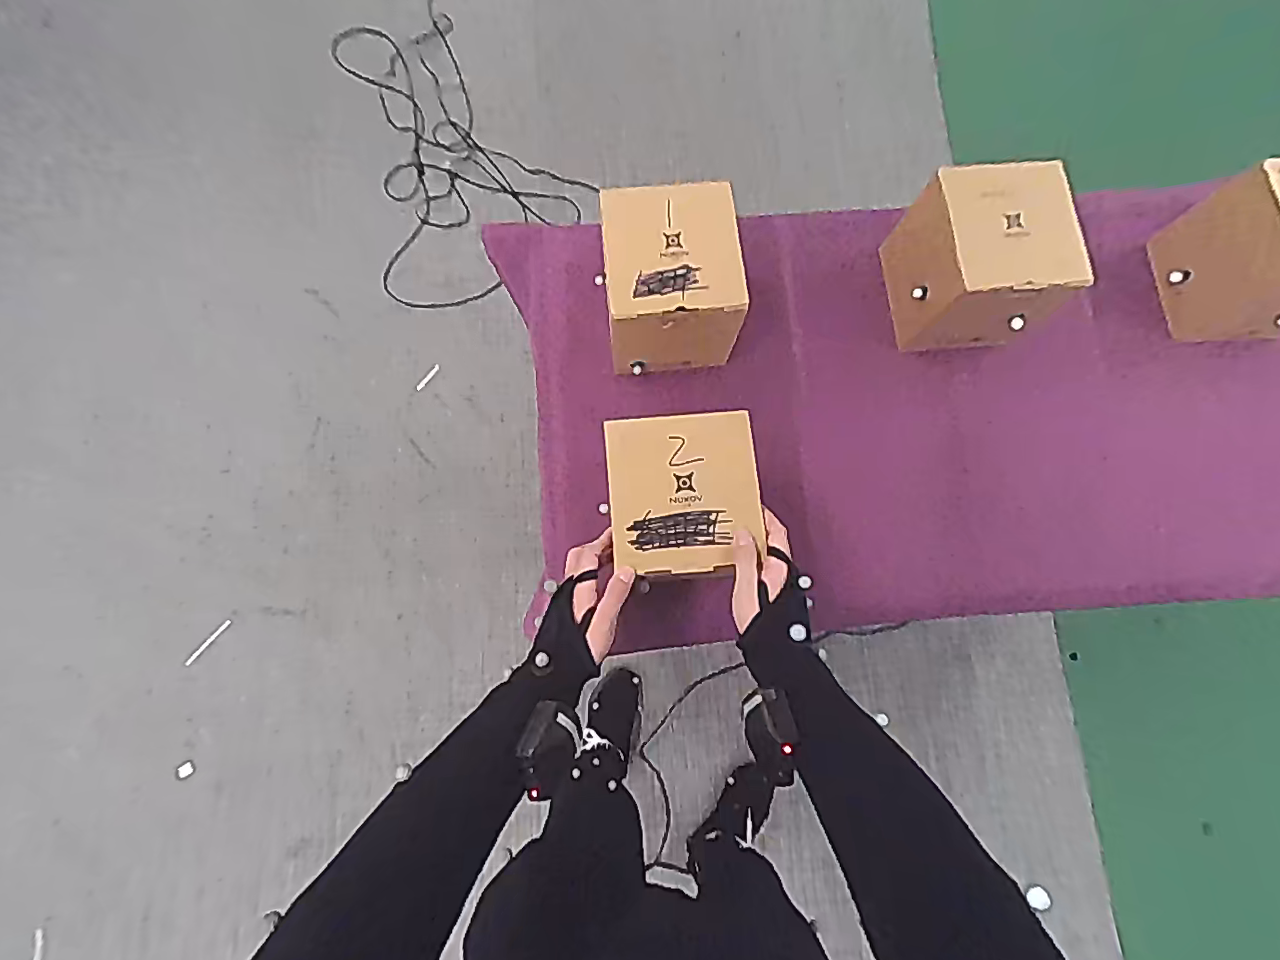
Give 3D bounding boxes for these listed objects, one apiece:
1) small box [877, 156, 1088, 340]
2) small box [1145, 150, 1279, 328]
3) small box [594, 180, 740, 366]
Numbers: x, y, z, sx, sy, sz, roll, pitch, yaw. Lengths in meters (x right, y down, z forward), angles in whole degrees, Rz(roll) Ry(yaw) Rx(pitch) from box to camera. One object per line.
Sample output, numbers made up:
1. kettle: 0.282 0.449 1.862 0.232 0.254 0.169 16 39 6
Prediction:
1. small box: 0.452 -0.304 0.744 0.168 0.176 0.179 -5 78 -2
2. small box: 0.868 -0.323 0.749 0.168 0.176 0.179 -3 79 -1
3. small box: 0.030 -0.265 0.730 0.168 0.176 0.179 -5 77 -3
